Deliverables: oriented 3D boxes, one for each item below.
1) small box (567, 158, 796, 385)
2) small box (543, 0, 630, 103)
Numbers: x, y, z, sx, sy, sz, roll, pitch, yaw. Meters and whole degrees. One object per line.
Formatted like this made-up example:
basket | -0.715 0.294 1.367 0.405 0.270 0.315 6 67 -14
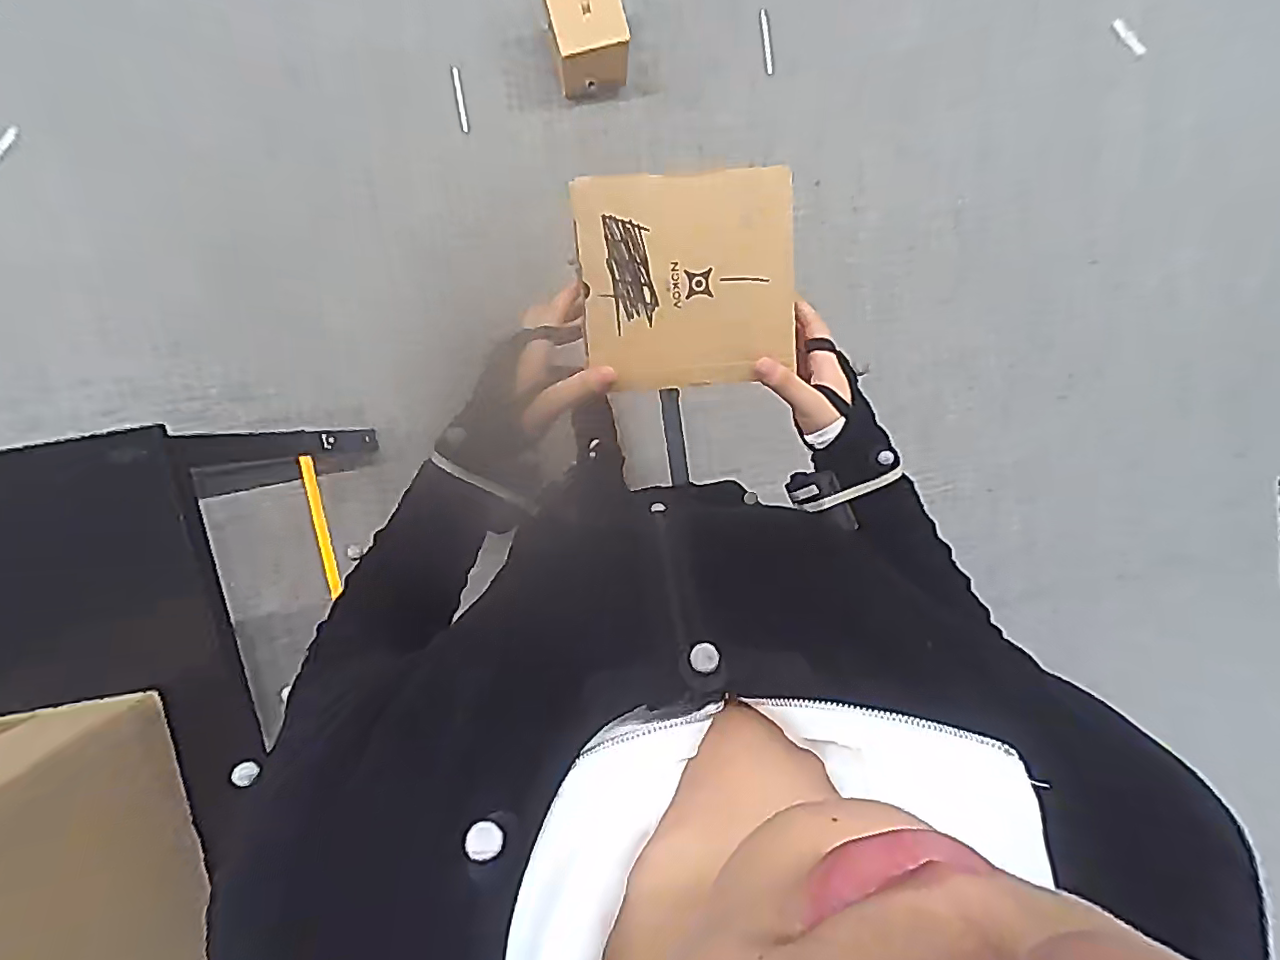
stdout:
small box | 0.032 -0.175 0.503 0.179 0.176 0.168 -5 102 -4
small box | -0.128 -1.052 1.289 0.168 0.176 0.179 -17 98 -2
